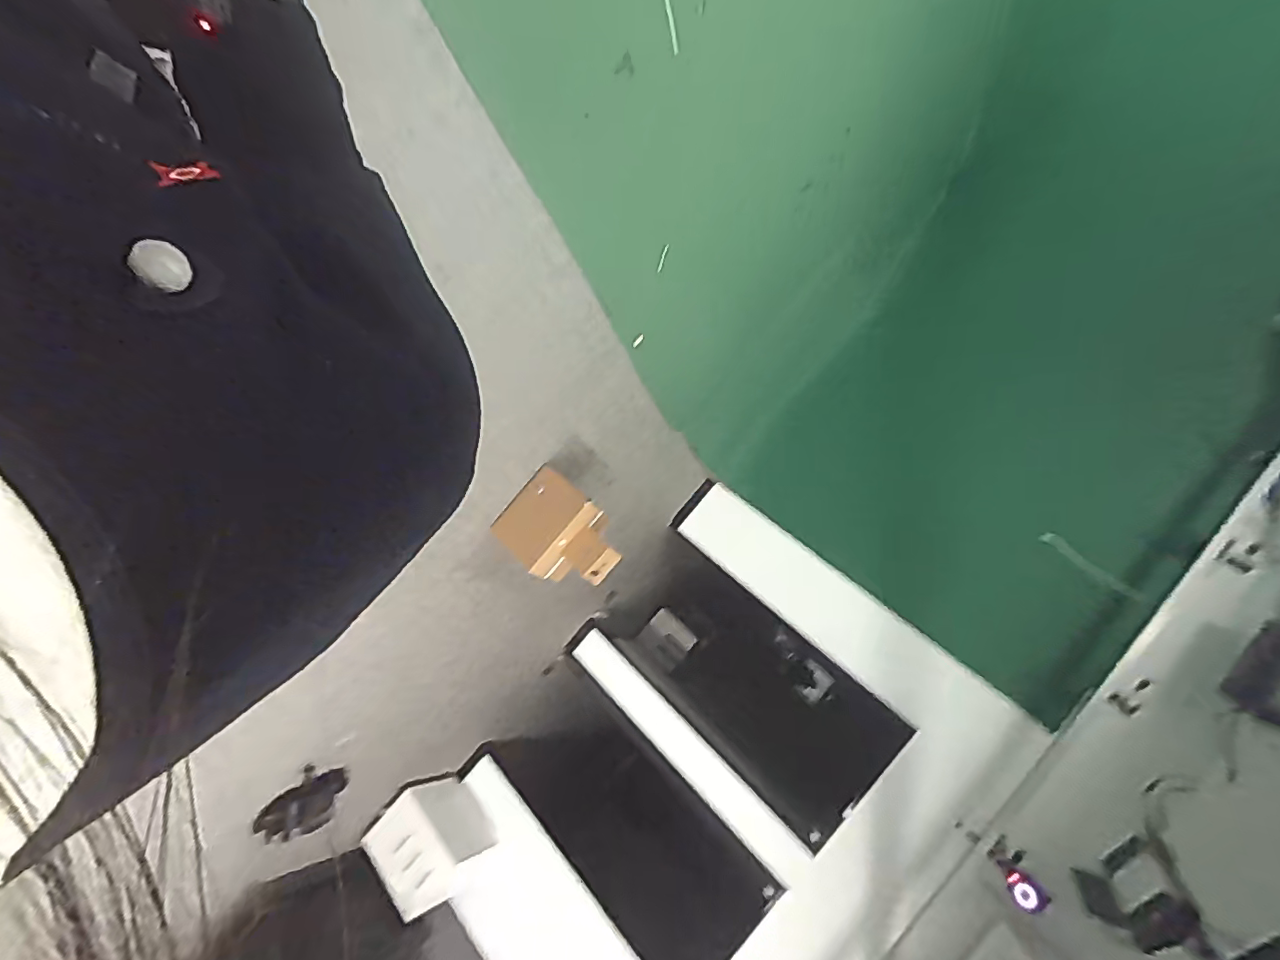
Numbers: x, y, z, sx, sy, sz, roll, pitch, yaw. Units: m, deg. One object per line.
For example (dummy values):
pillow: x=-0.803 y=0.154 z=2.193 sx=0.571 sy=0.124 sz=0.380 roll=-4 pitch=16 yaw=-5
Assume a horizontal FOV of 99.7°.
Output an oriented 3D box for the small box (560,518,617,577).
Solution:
small box: x=-0.242 y=0.308 z=2.472 sx=0.179 sy=0.176 sz=0.168 roll=-47 pitch=151 yaw=-9
